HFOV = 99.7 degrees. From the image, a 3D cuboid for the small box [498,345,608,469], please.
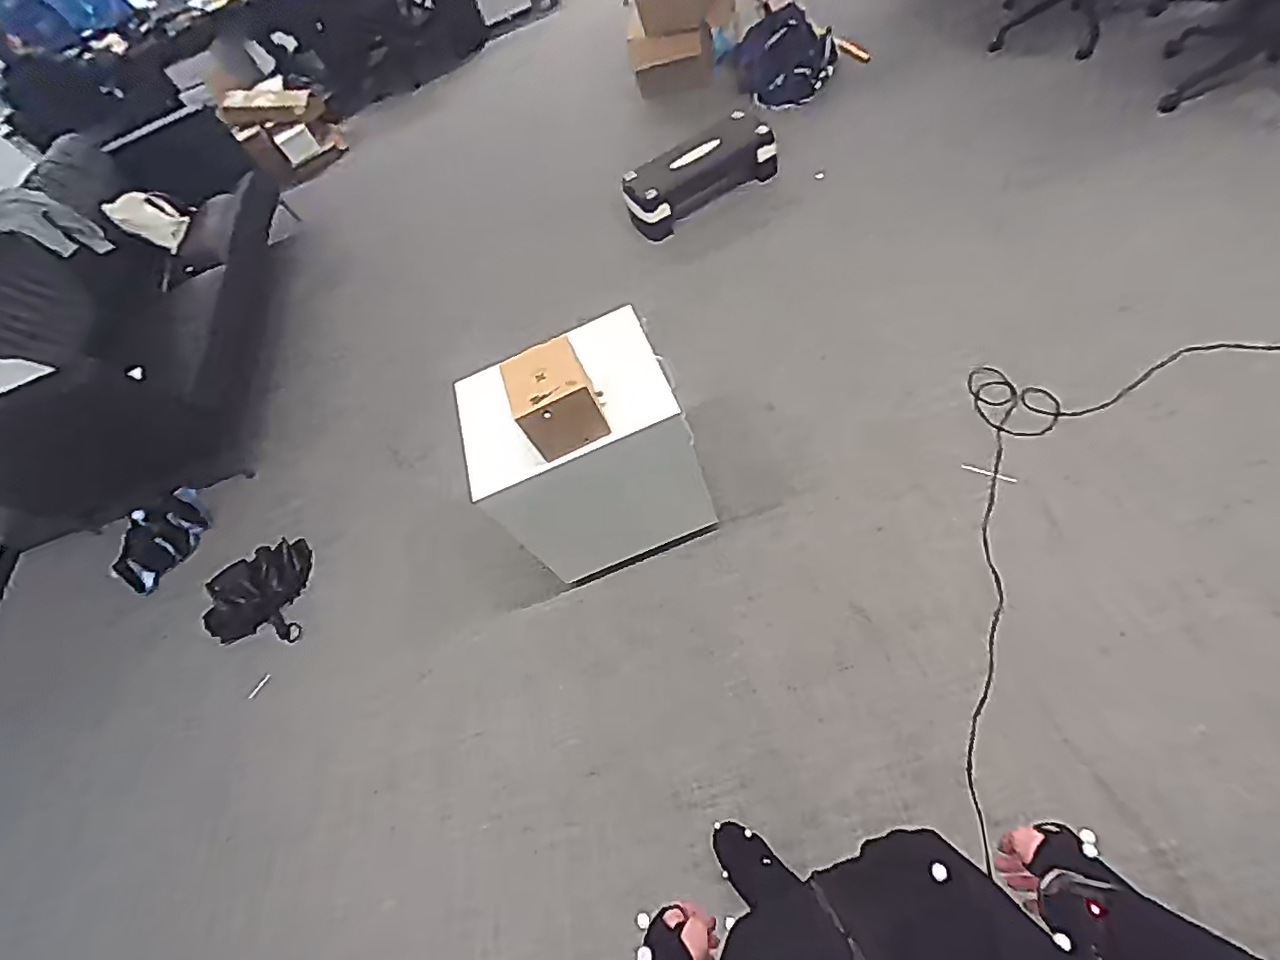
[{"bbox_3d":[-0.188,-0.157,1.191,0.168,0.176,0.179,-26,54,2],"label":"small box"}]
